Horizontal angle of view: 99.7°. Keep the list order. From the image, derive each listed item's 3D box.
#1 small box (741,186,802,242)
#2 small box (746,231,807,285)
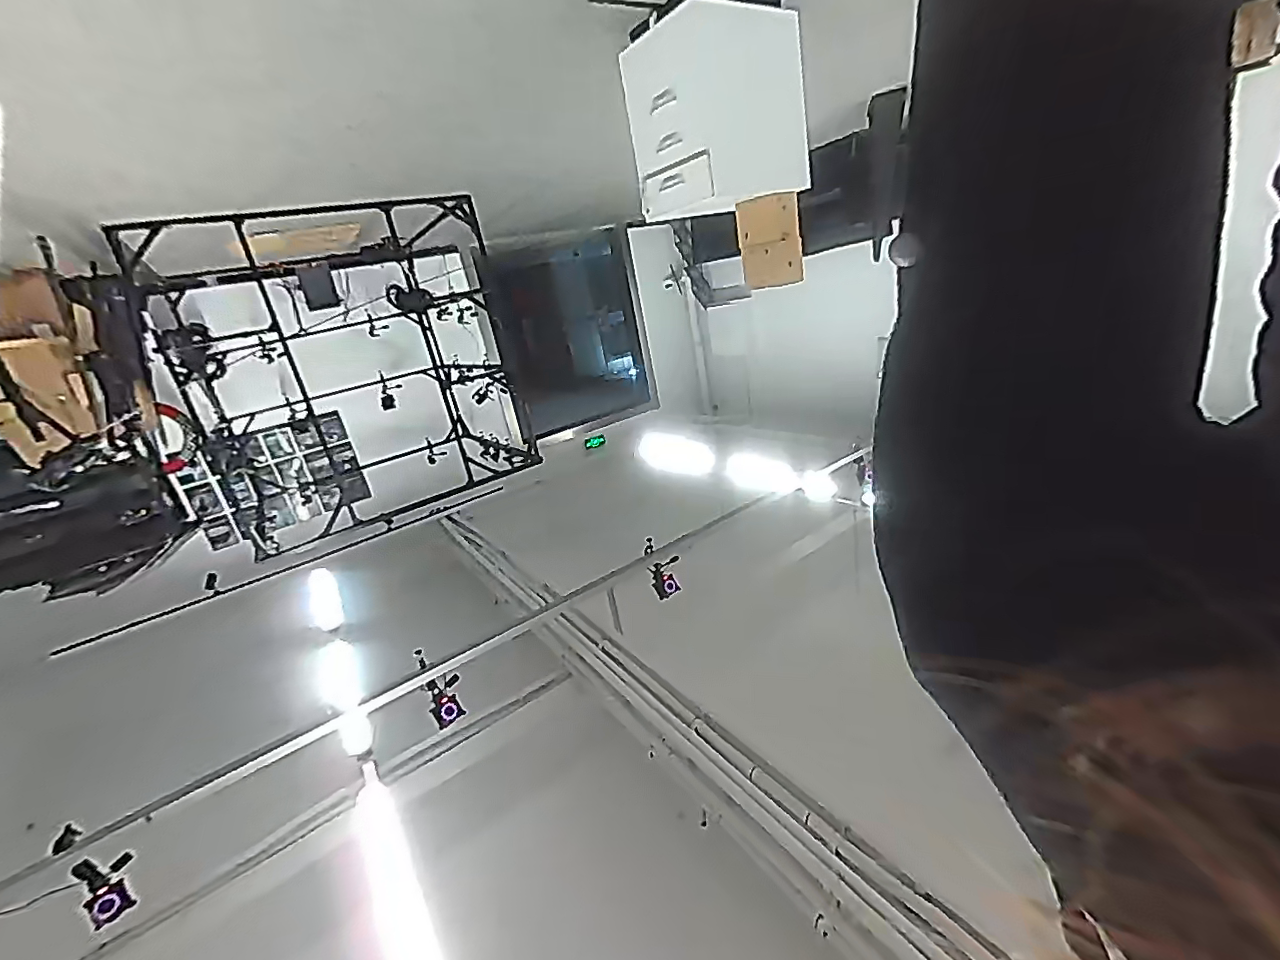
[{"bbox_3d":[0.514,-1.047,2.126,0.168,0.176,0.179,-24,-156,-29],"label":"small box"},{"bbox_3d":[0.549,-0.895,2.180,0.179,0.176,0.168,-24,-155,-29],"label":"small box"}]
